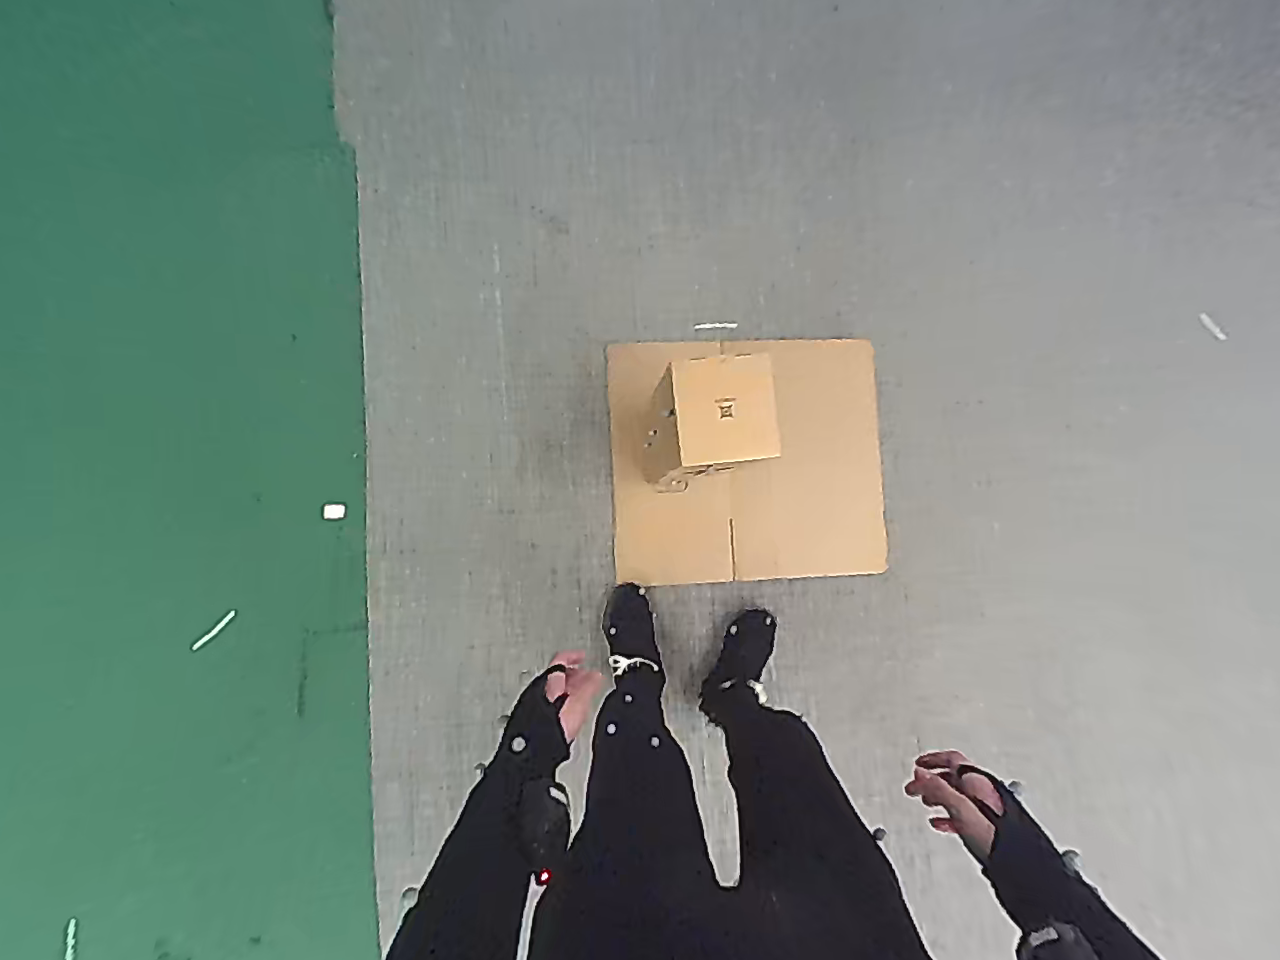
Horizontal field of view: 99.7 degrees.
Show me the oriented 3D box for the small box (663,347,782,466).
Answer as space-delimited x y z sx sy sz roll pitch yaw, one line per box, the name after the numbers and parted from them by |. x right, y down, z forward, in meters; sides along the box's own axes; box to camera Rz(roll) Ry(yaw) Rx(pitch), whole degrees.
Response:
0.135 -0.118 0.941 0.168 0.176 0.179 -6 87 -4 | small box

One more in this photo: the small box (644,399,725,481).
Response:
0.107 -0.099 1.265 0.168 0.176 0.179 -10 88 -5 | small box

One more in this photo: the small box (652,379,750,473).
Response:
0.119 -0.108 1.102 0.168 0.176 0.179 -6 87 -4 | small box
